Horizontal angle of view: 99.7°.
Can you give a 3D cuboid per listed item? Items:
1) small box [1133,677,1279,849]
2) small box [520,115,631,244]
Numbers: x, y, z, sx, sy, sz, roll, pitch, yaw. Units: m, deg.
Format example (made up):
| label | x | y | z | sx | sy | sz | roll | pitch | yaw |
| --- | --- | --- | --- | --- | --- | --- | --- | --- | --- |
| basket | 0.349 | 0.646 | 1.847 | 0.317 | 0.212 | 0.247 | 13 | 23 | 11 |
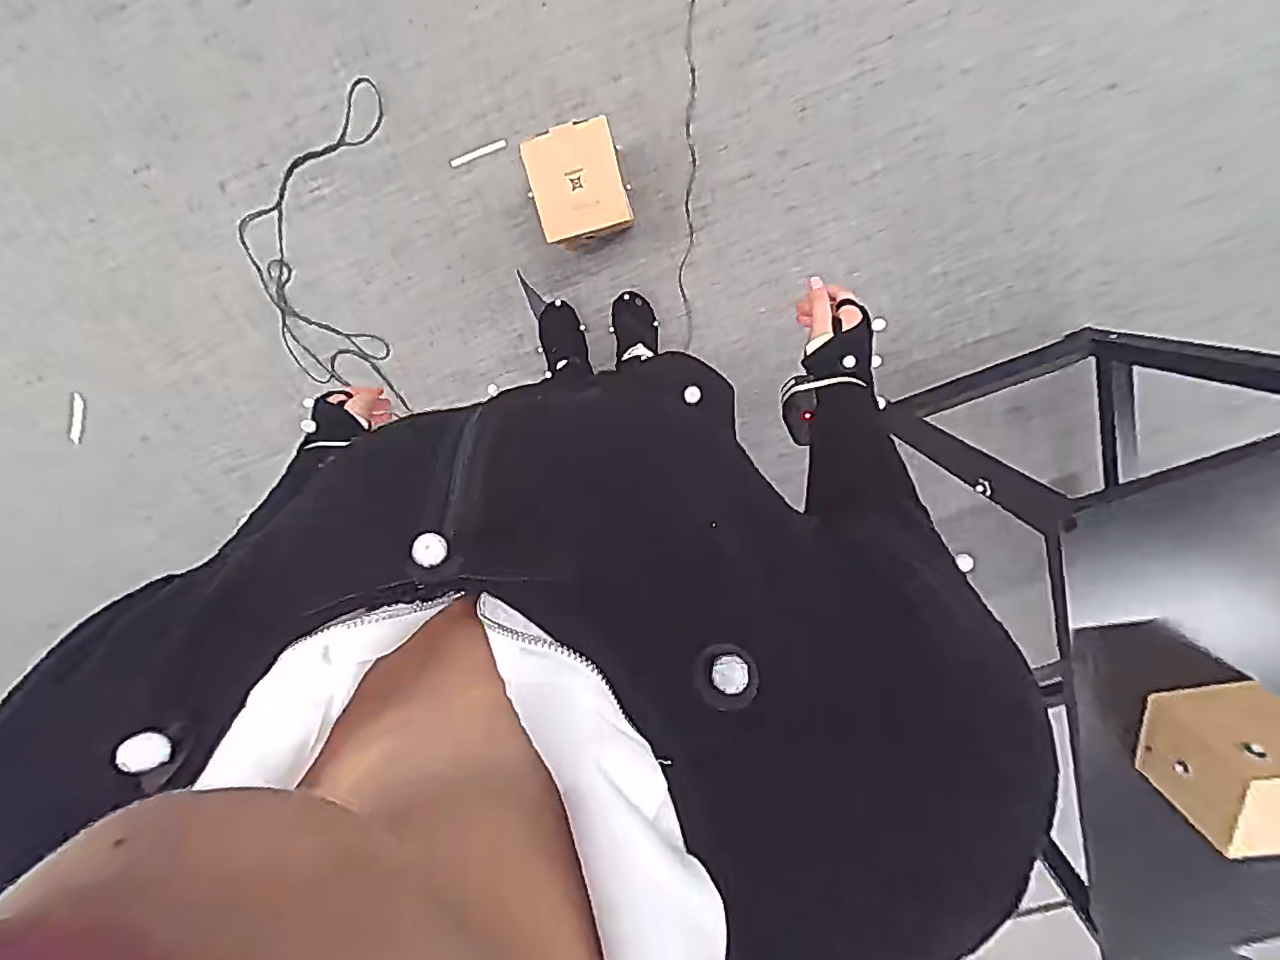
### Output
| label | x | y | z | sx | sy | sz | roll | pitch | yaw |
| --- | --- | --- | --- | --- | --- | --- | --- | --- | --- |
| small box | 0.953 | 0.445 | 0.866 | 0.179 | 0.176 | 0.168 | -10 | 111 | 2 |
| small box | -0.118 | -0.576 | 1.061 | 0.168 | 0.176 | 0.179 | -14 | 112 | 6 |
